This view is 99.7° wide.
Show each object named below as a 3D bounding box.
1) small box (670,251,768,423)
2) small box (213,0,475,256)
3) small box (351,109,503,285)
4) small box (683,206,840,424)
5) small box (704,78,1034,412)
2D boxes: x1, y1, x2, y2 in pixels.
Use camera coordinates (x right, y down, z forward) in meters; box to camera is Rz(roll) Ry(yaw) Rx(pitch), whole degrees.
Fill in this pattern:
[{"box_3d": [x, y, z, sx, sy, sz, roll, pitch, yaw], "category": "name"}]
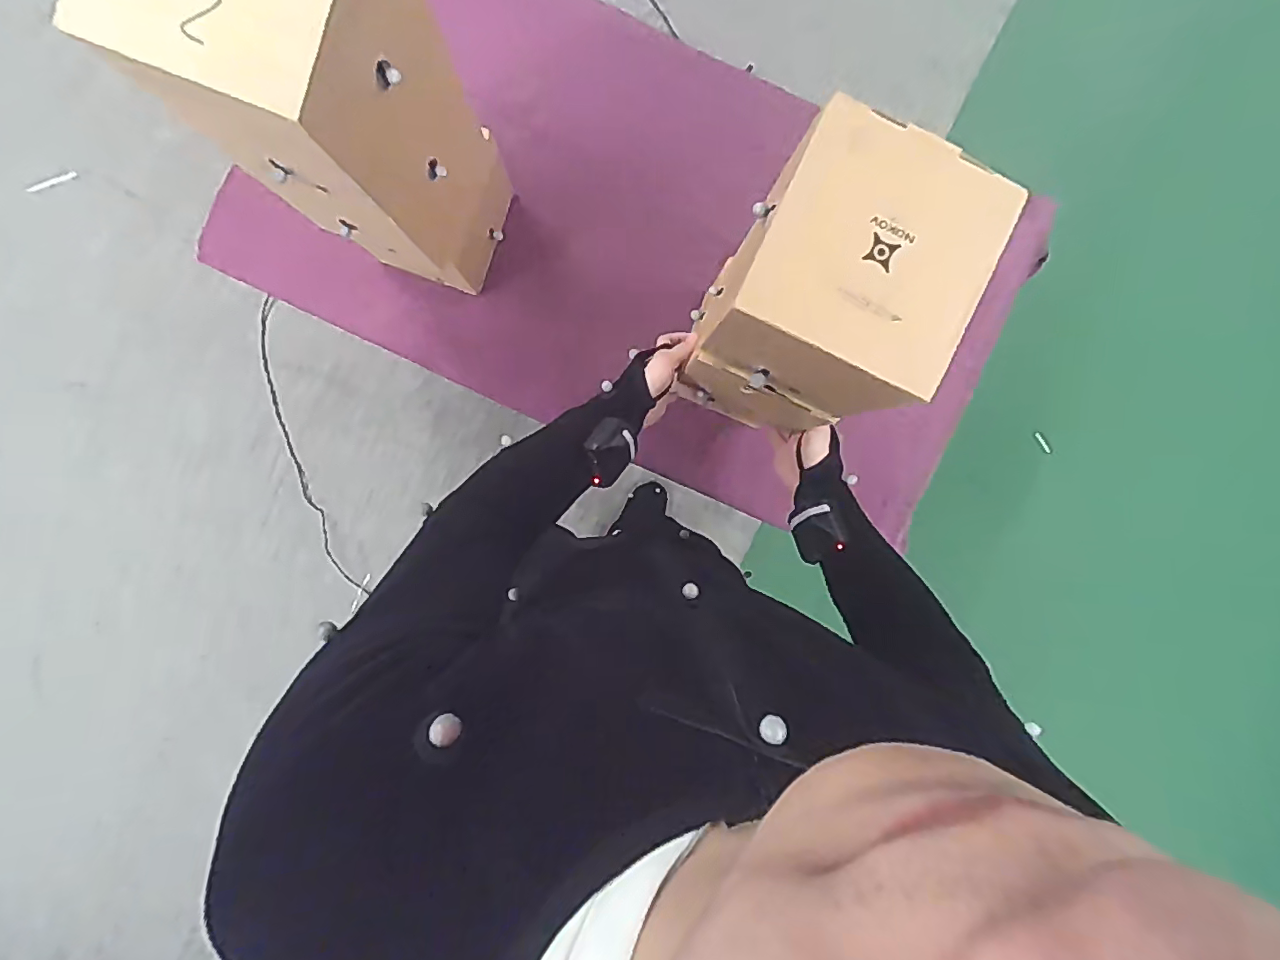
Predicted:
[{"box_3d": [0.151, -0.192, 0.789, 0.168, 0.176, 0.179, 23, 91, -4], "category": "small box"}, {"box_3d": [-0.295, -0.371, 0.581, 0.168, 0.176, 0.179, 20, 93, -6], "category": "small box"}, {"box_3d": [-0.300, -0.400, 0.745, 0.168, 0.176, 0.179, 19, 92, -4], "category": "small box"}, {"box_3d": [0.159, -0.175, 0.625, 0.168, 0.176, 0.179, 25, 90, -5], "category": "small box"}, {"box_3d": [0.170, -0.172, 0.463, 0.168, 0.176, 0.179, 26, 91, -4], "category": "small box"}]
